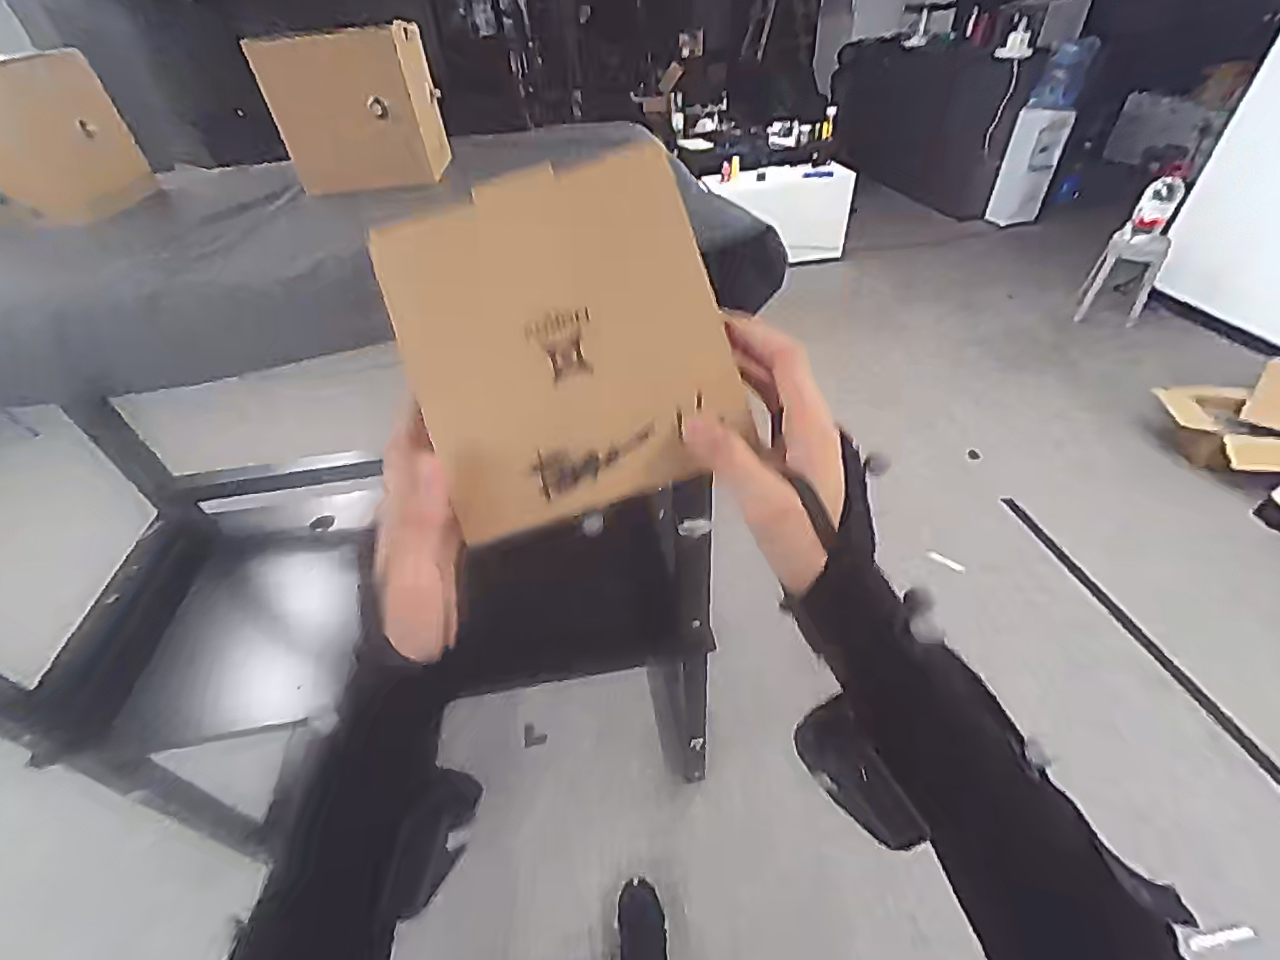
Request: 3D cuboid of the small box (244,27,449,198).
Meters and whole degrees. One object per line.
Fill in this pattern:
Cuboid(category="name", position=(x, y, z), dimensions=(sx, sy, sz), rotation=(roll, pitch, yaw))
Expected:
Cuboid(category="small box", position=(-0.378, -0.504, 0.741), dimensions=(0.179, 0.176, 0.168), rotation=(-7, 41, -3))
